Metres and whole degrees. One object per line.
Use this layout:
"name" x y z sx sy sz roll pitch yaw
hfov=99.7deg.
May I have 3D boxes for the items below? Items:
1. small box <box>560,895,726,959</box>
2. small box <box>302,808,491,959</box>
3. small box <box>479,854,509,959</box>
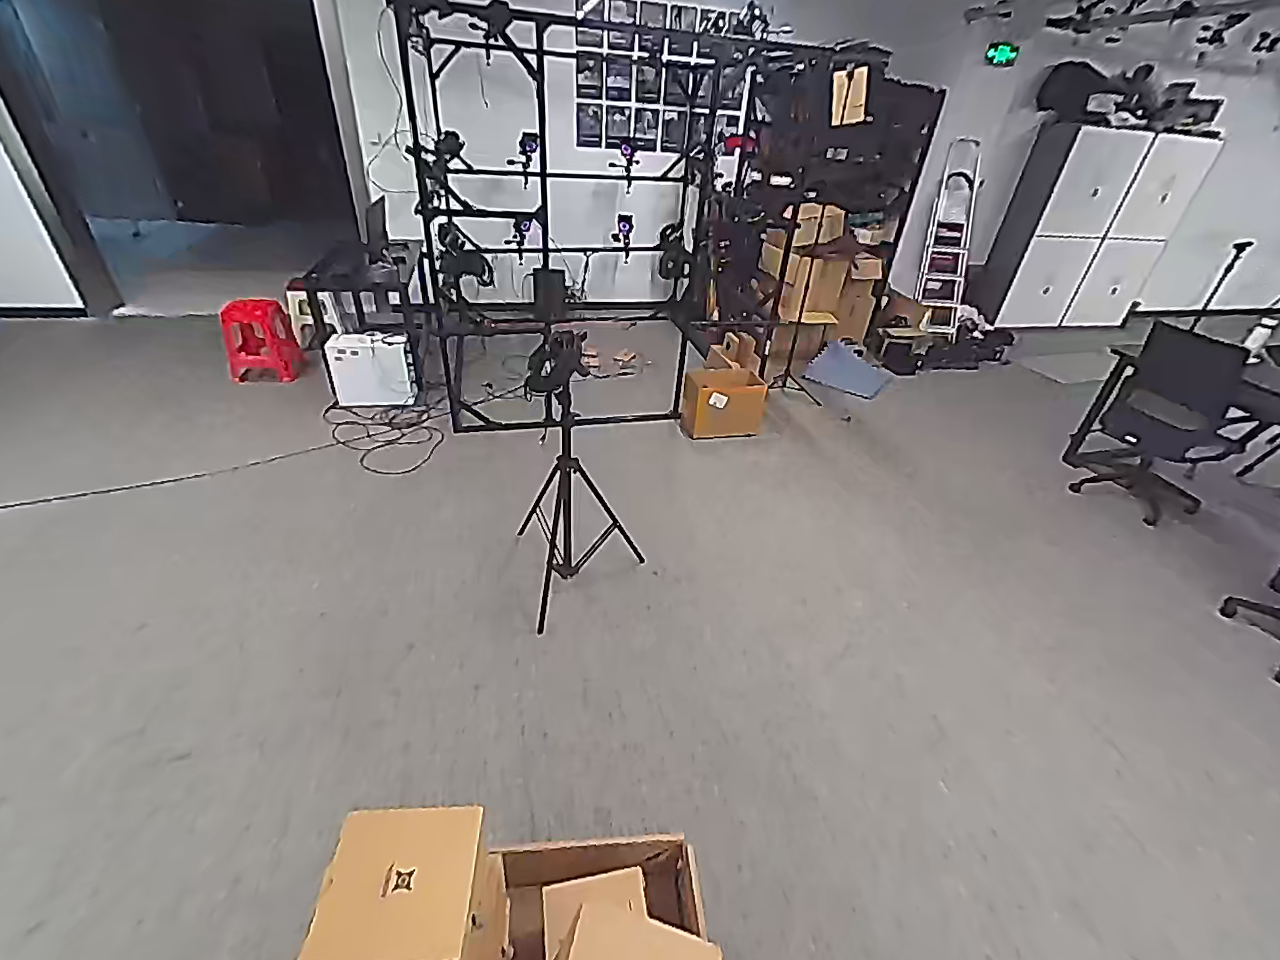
"small box" -0.020 0.615 0.593 0.179 0.176 0.168 20 27 3
"small box" -0.291 0.548 0.691 0.179 0.176 0.168 2 33 -7
"small box" -0.281 0.684 0.782 0.168 0.176 0.179 0 33 -9
